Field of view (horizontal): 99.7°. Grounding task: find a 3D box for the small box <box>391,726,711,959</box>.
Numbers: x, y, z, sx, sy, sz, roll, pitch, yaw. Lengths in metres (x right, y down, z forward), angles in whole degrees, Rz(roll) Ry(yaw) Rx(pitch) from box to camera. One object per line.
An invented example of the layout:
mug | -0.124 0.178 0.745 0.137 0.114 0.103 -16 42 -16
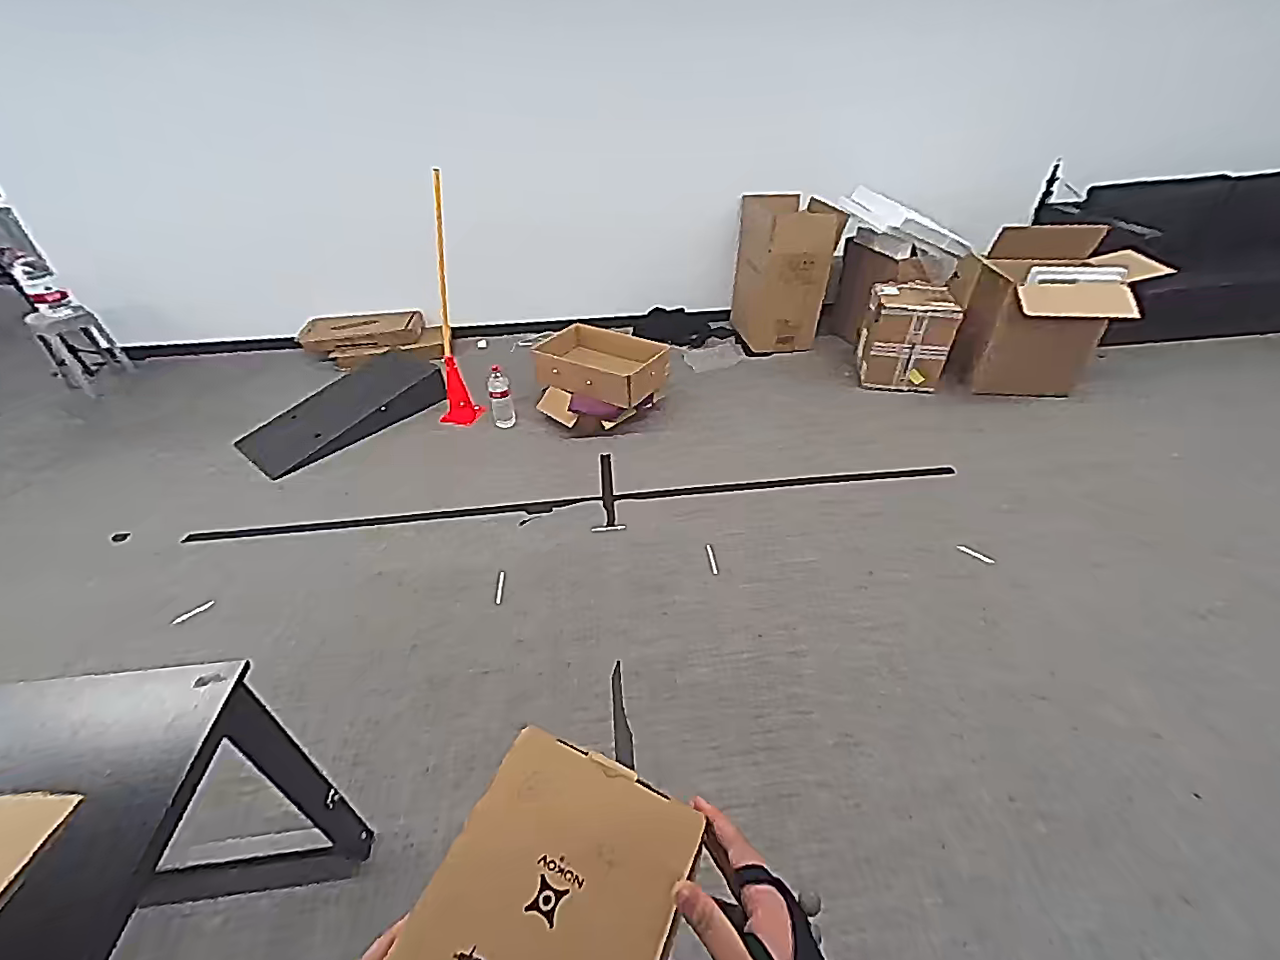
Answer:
small box | -0.054 0.344 0.435 0.168 0.176 0.179 17 46 20
